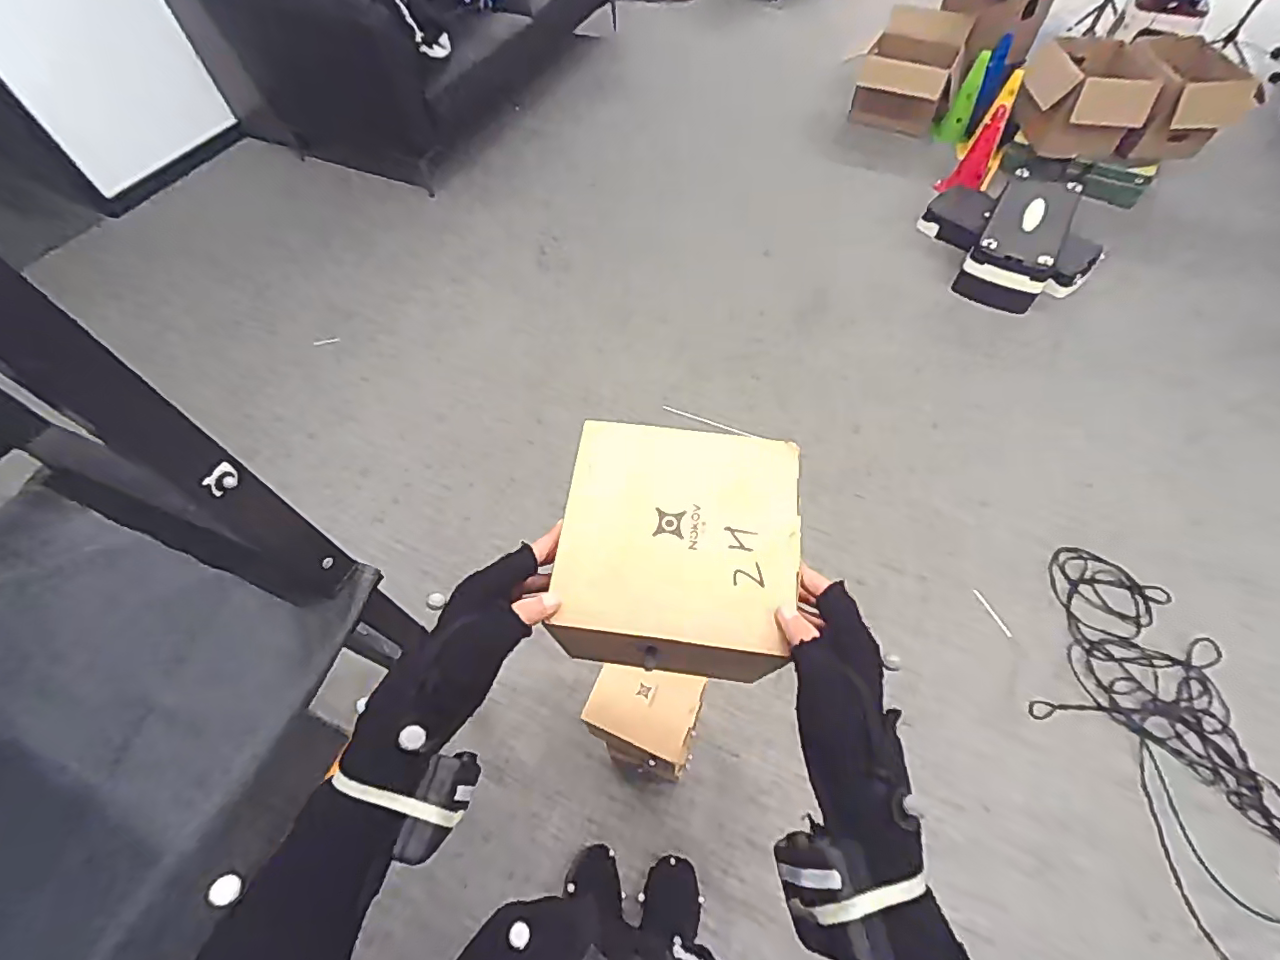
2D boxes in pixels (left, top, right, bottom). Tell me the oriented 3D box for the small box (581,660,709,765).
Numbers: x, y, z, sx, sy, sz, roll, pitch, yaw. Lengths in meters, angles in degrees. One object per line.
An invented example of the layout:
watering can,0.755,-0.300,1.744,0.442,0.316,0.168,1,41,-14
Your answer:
small box,0.015,0.394,0.975,0.179,0.176,0.168,19,61,14

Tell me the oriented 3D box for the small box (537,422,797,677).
small box,0.027,0.069,0.466,0.179,0.176,0.168,7,66,4
